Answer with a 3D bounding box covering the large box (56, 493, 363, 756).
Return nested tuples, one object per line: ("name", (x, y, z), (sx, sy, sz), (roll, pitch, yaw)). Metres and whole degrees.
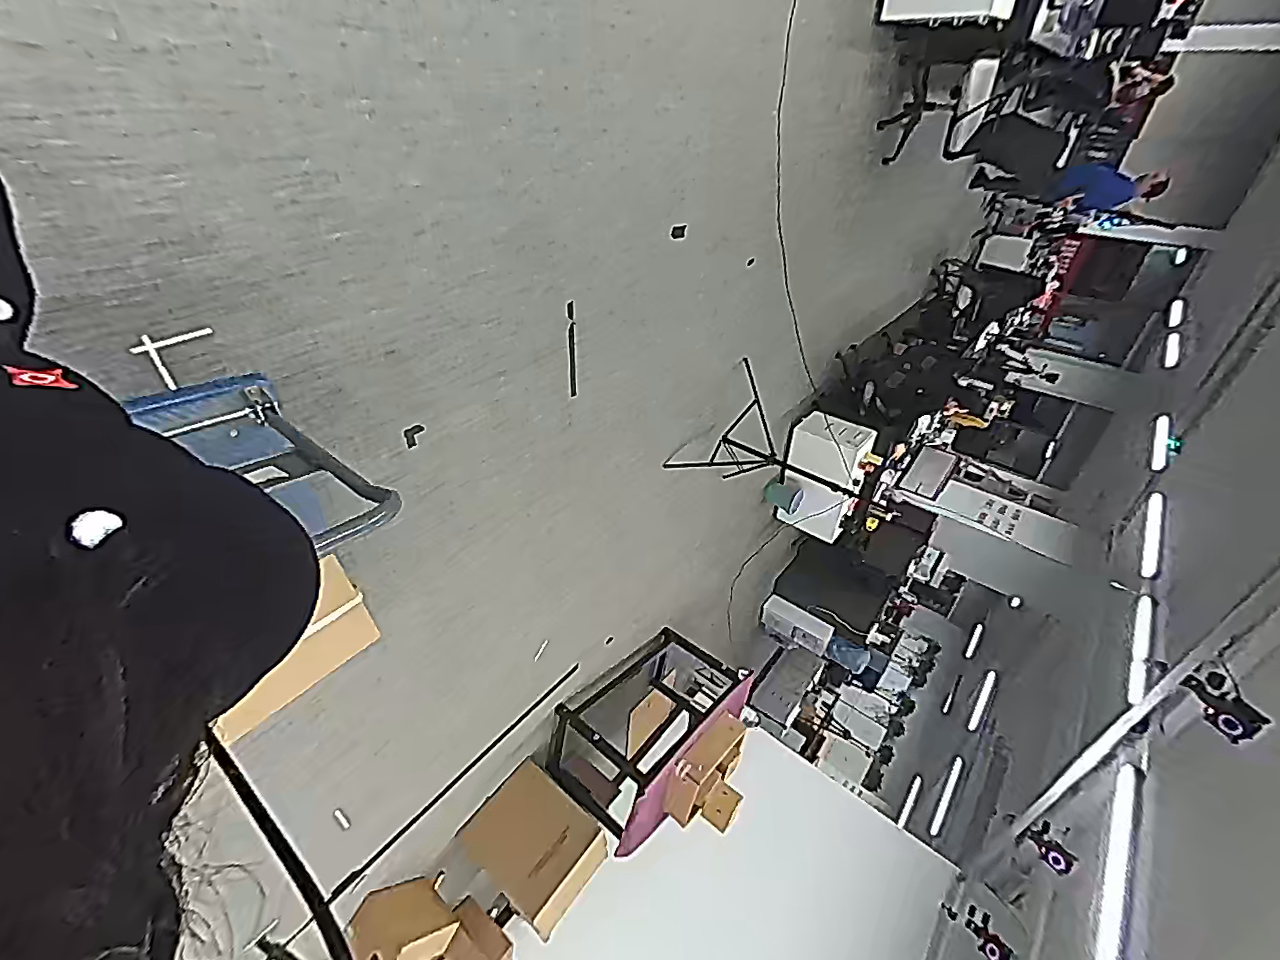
("large box", (-0.930, 0.299, 1.213), (0.408, 0.320, 0.320), (-37, 140, -35))
